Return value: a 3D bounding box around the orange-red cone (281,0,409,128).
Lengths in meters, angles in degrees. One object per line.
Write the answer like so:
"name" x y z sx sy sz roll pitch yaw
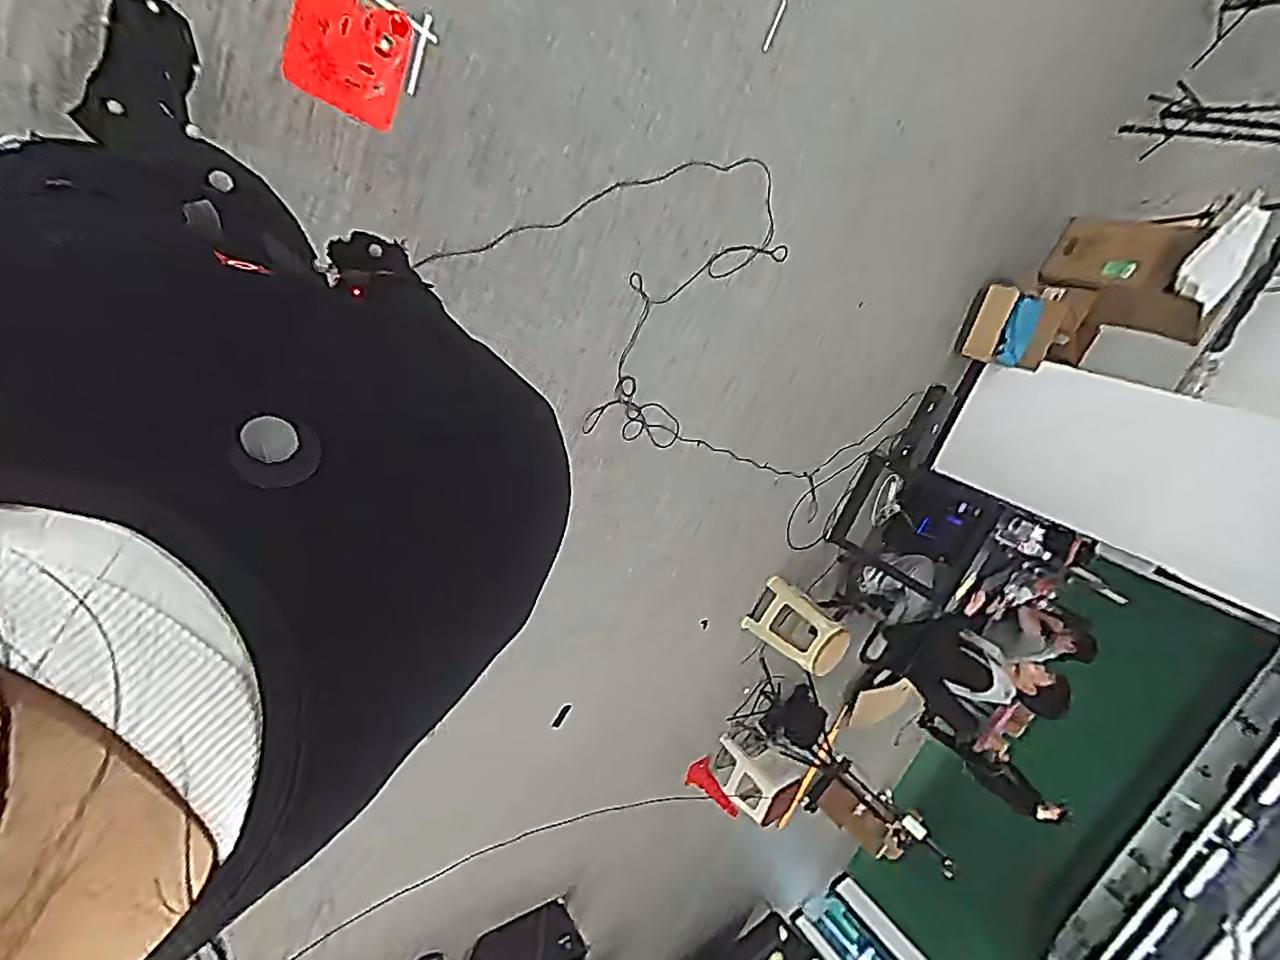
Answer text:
"orange-red cone" -0.472 -0.766 0.937 0.199 0.360 0.198 11 106 -42
